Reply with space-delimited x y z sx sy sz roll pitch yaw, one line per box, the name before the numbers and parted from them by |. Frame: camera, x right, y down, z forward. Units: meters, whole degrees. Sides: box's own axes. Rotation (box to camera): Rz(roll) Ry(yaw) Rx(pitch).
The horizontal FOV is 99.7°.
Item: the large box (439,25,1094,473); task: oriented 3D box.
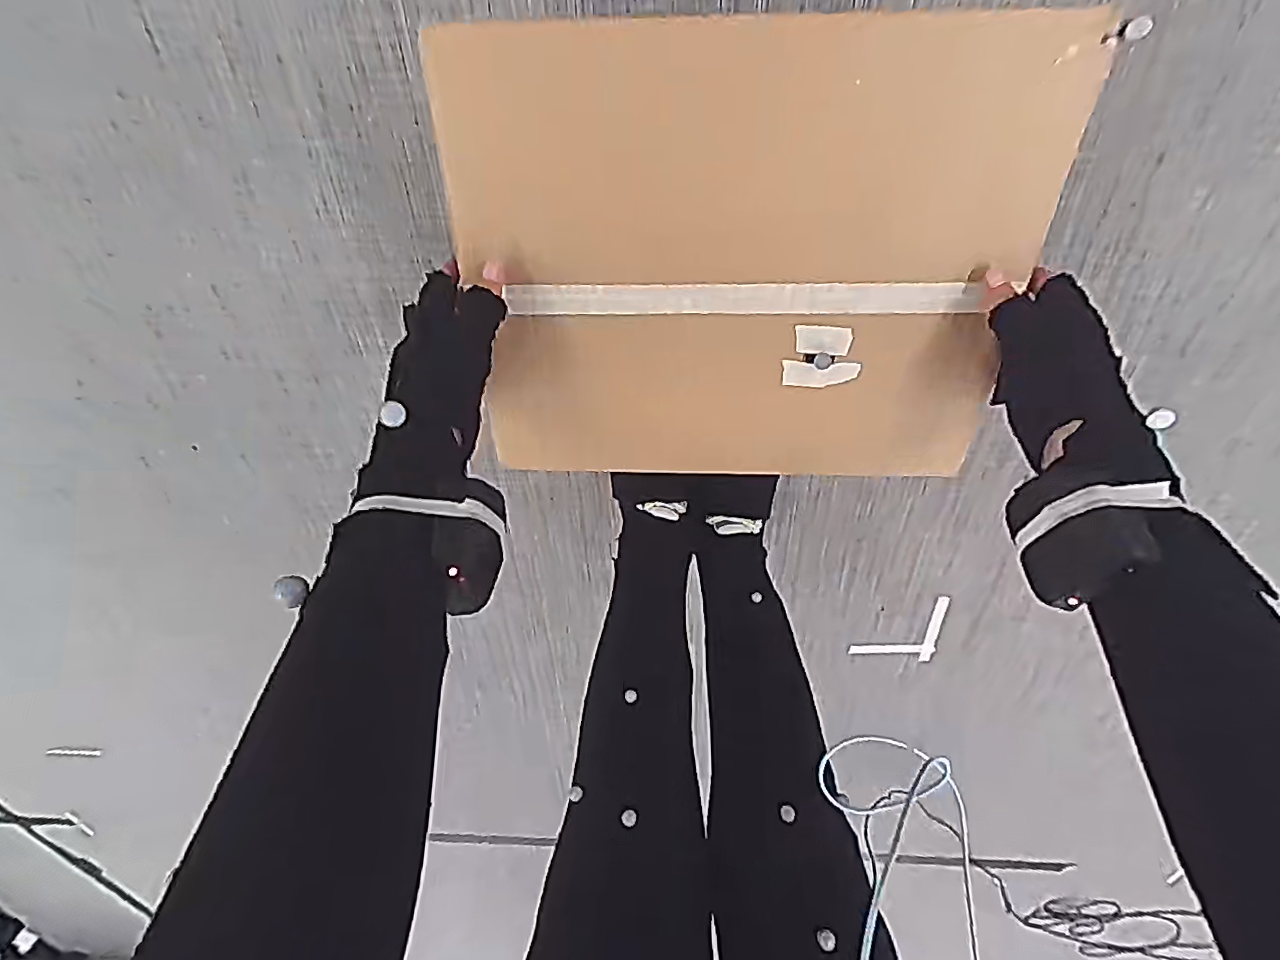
large box | 0.080 -0.217 0.532 0.408 0.320 0.320 0 124 3
